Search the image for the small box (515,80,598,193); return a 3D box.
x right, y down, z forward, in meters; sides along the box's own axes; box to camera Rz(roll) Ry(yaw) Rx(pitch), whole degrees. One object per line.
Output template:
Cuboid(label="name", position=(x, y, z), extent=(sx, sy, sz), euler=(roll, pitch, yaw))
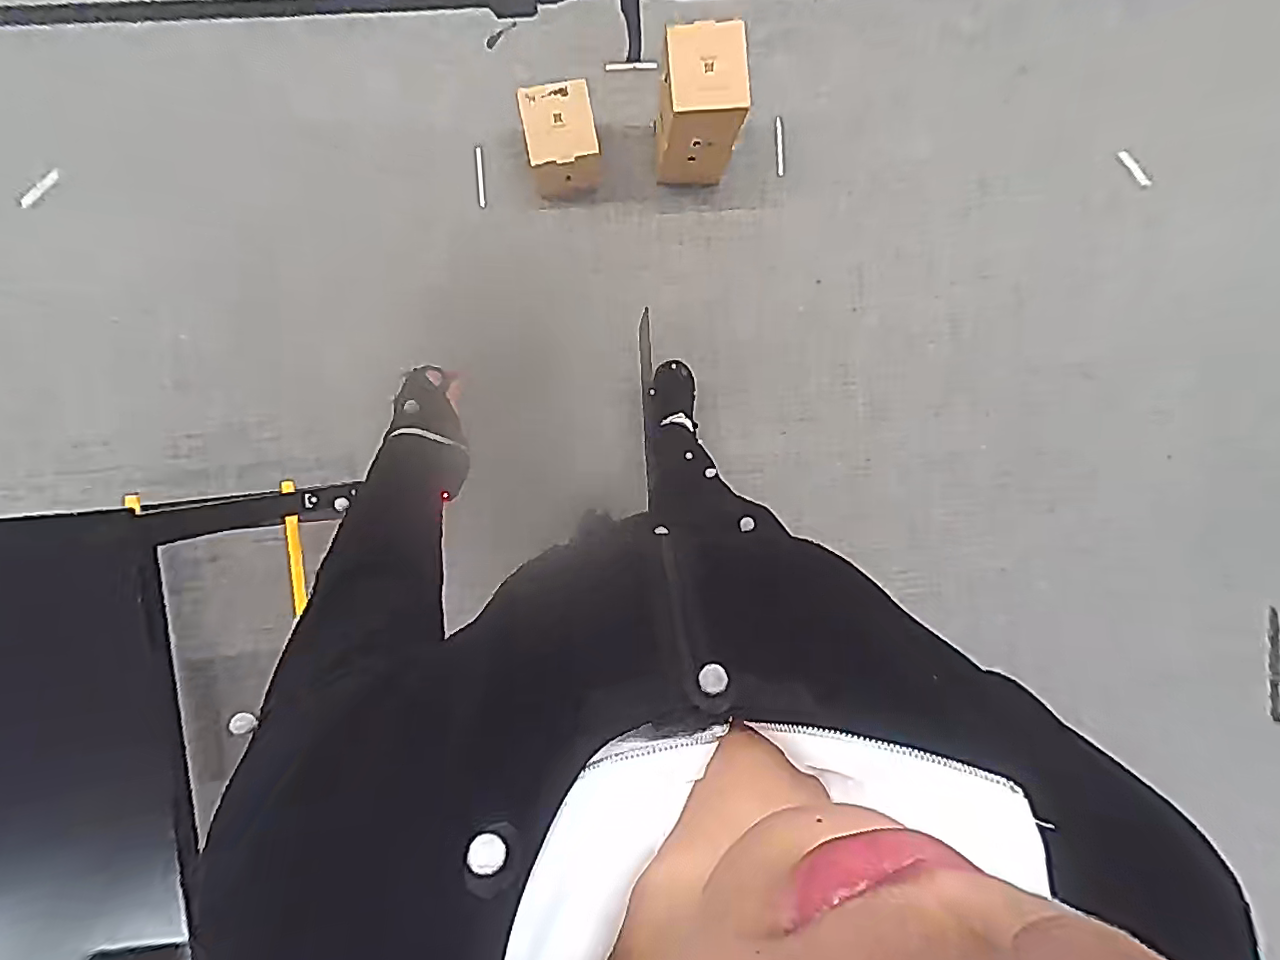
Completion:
Cuboid(label="small box", position=(-0.198, -0.837, 1.337), extent=(0.168, 0.176, 0.179), euler=(-11, 95, -2))

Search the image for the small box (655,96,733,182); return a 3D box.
Cuboid(label="small box", position=(0.129, -0.870, 1.357), extent=(0.179, 0.176, 0.168), euler=(-2, 94, -5))

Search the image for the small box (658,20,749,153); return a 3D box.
Cuboid(label="small box", position=(0.134, -0.861, 1.195), extent=(0.168, 0.176, 0.179), euler=(-6, 95, -2))
